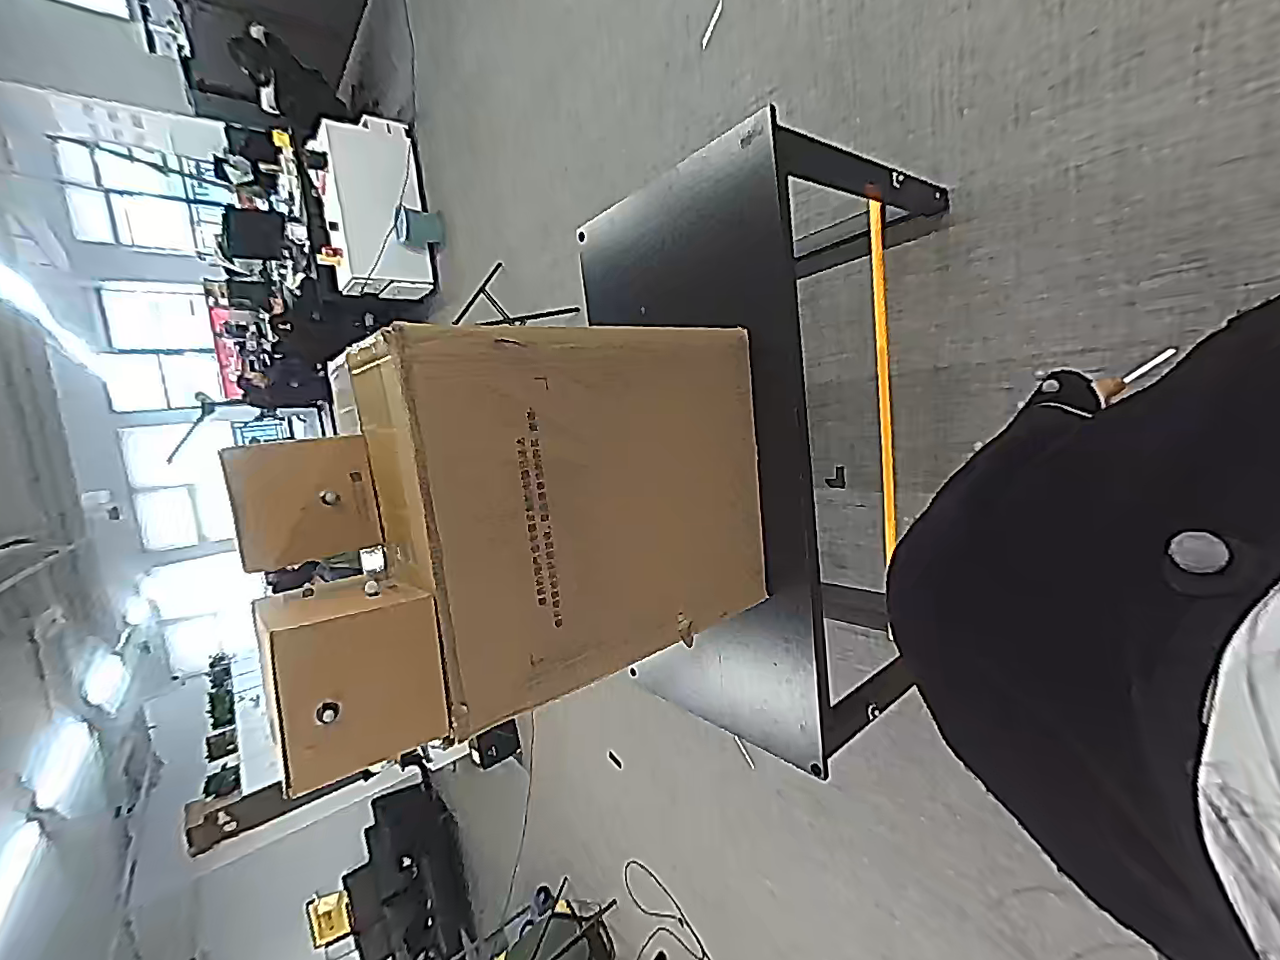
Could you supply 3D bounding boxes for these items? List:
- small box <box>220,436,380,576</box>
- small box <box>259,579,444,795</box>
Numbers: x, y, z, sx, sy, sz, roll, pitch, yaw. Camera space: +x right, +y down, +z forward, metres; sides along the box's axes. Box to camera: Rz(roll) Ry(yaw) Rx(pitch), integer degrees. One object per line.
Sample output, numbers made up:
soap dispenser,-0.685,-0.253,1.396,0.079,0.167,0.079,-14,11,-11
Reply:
small box,-0.497,0.030,0.800,0.179,0.176,0.168,-1,100,54
small box,-0.351,0.234,0.664,0.168,0.176,0.179,-2,94,51
